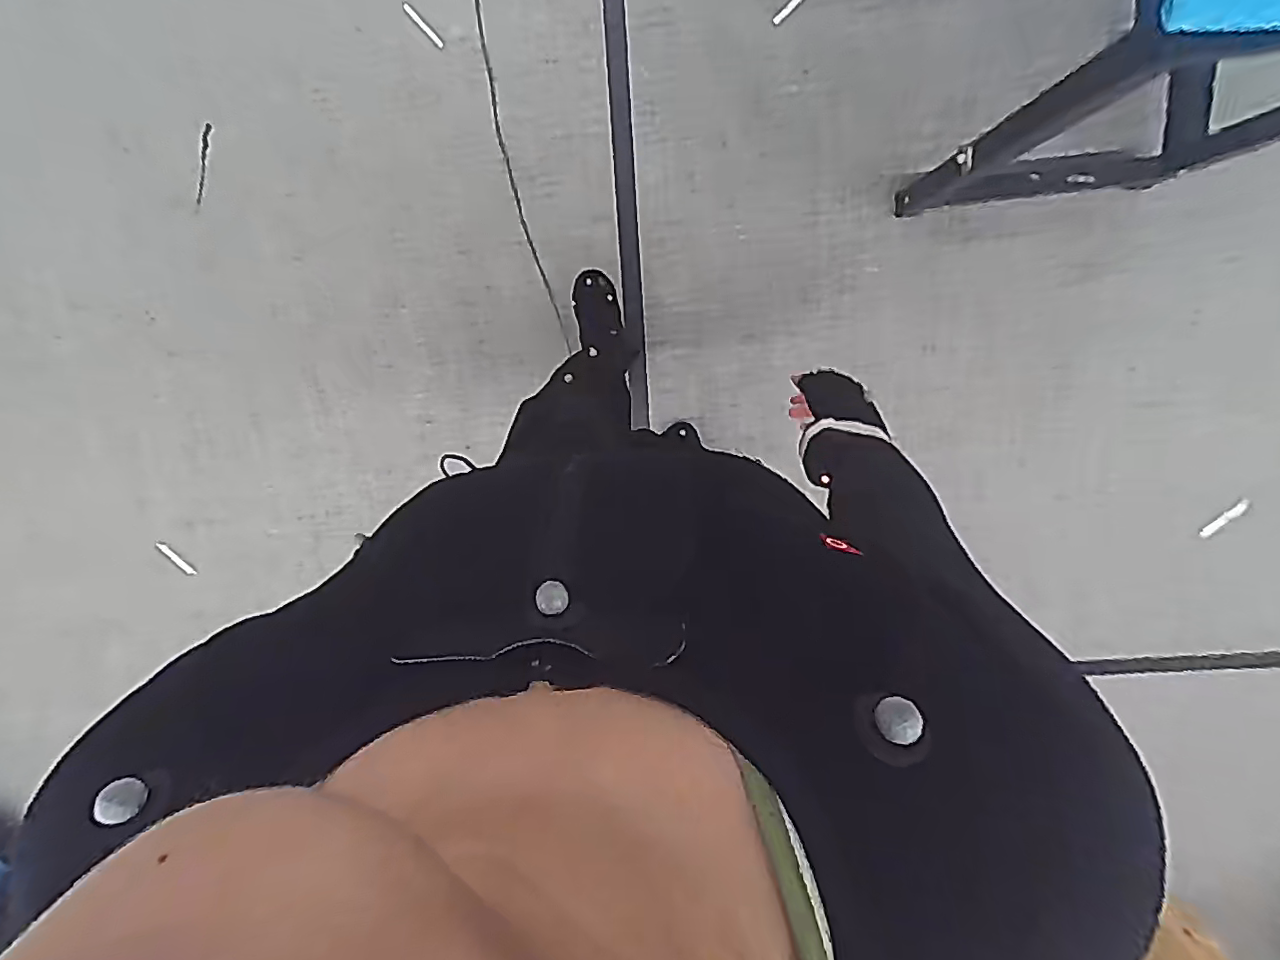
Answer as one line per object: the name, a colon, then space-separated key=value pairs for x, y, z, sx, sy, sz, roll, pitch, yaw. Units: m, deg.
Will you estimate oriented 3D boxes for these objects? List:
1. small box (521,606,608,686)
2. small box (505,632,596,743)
small box: x=-0.202 y=0.486 z=1.519 sx=0.179 sy=0.176 sz=0.168 roll=-34 pitch=97 yaw=9
small box: x=-0.216 y=0.511 z=1.358 sx=0.168 sy=0.176 sz=0.179 roll=19 pitch=104 yaw=0
